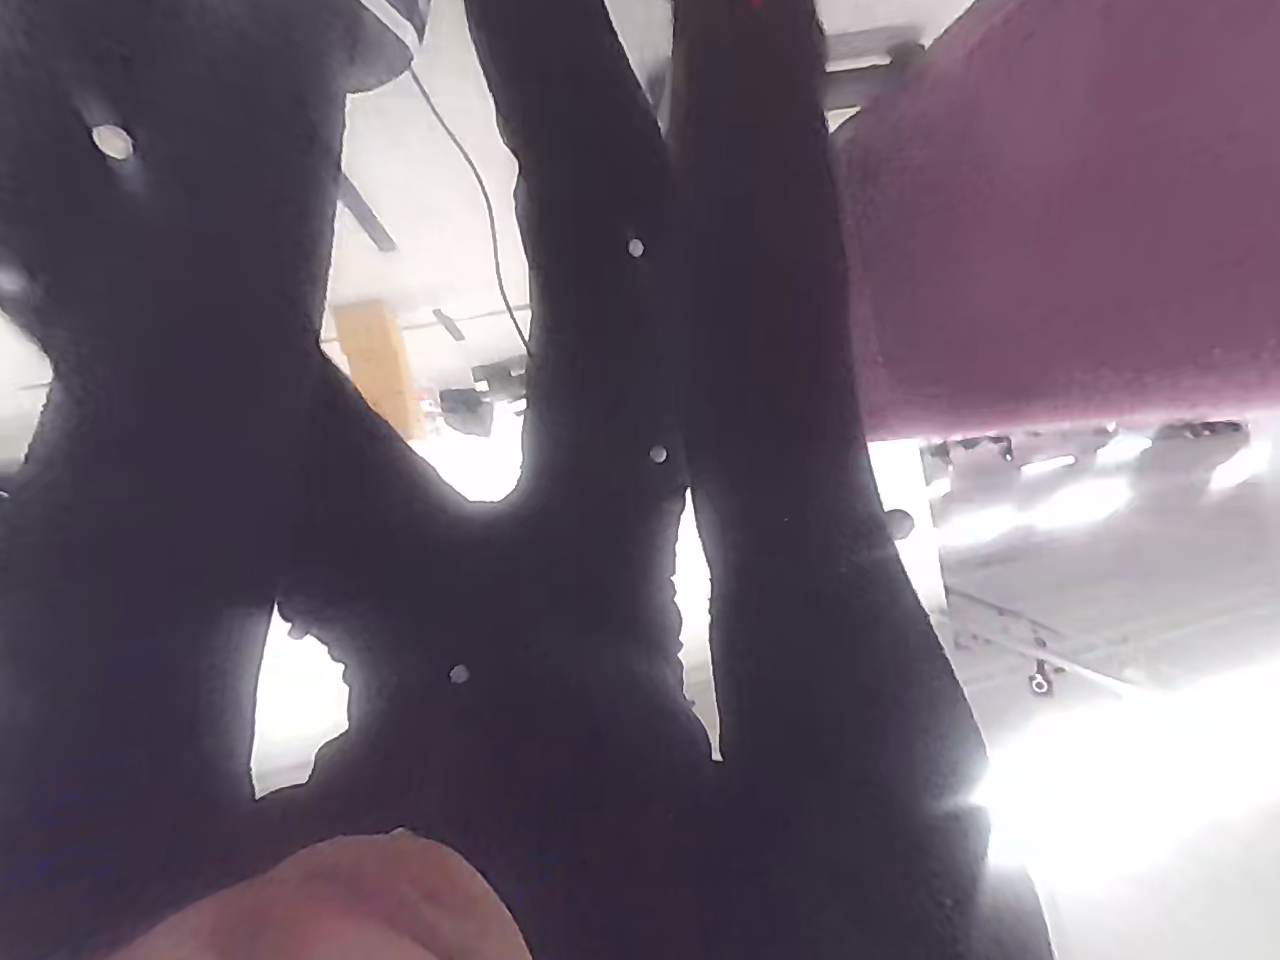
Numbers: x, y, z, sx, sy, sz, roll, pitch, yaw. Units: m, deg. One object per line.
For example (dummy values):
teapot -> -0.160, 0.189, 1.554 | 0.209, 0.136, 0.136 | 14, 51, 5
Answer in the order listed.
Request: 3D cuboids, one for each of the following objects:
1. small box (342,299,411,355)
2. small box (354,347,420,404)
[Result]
small box -> -0.951, -0.538, 1.951 | 0.179, 0.176, 0.168 | -11, -177, -6
small box -> -0.919, -0.380, 1.971 | 0.168, 0.176, 0.179 | -11, -178, -10
